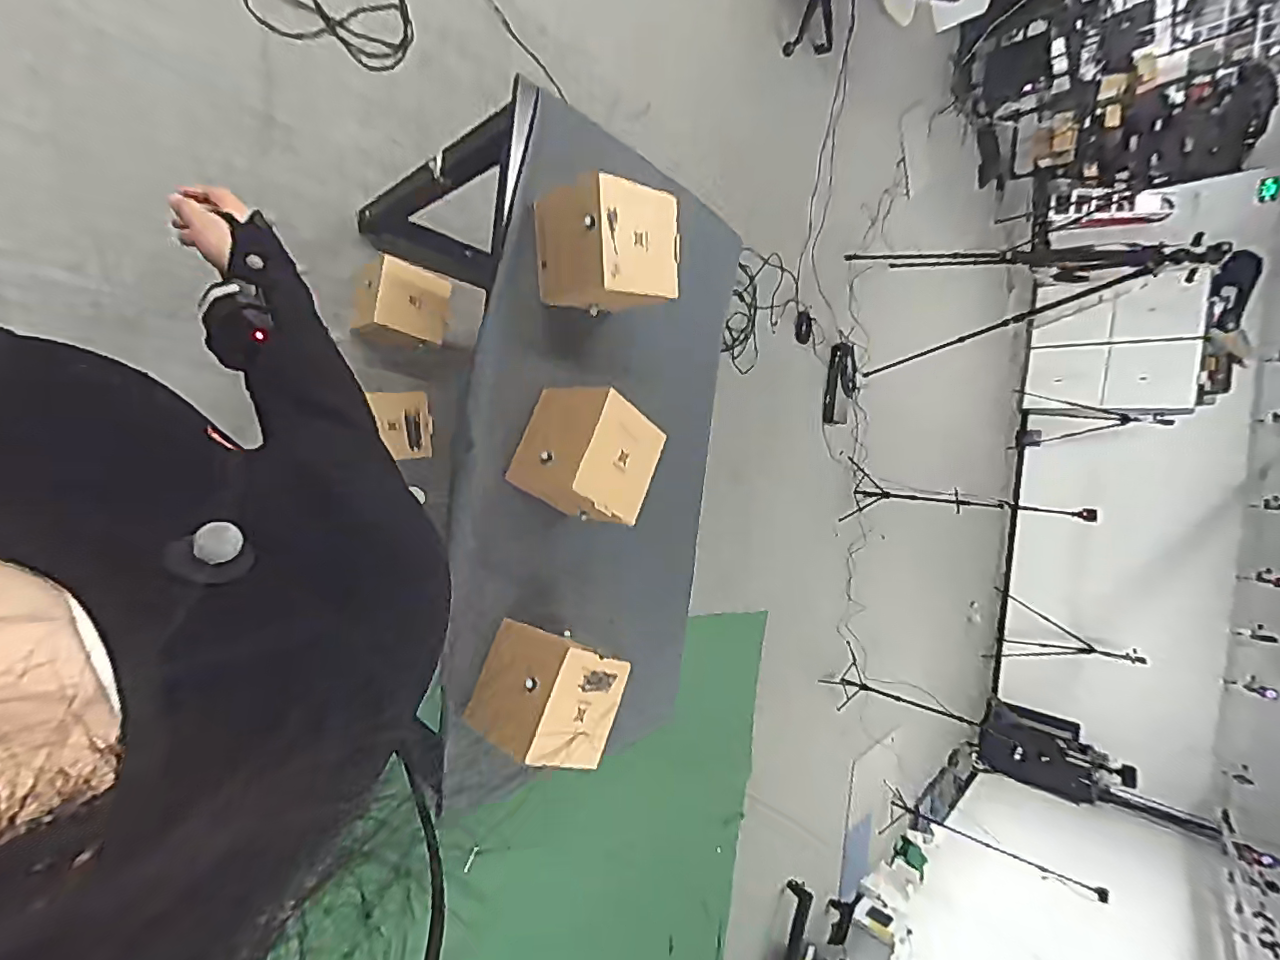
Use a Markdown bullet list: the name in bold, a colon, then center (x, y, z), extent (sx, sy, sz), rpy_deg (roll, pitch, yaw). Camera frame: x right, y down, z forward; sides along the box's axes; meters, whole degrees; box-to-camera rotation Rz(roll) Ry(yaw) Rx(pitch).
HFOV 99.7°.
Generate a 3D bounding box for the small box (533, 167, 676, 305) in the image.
- **small box**: center (-0.058, -0.396, 0.913), extent (0.179, 0.176, 0.168), rpy_deg (-12, 103, -45)

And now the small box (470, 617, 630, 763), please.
- **small box**: center (-0.149, 0.342, 0.896), extent (0.168, 0.176, 0.179), rpy_deg (36, 67, -45)

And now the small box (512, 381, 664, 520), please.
- **small box**: center (-0.091, -0.050, 0.920), extent (0.168, 0.176, 0.179), rpy_deg (35, 68, -46)

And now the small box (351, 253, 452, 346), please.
- **small box**: center (-0.615, -0.451, 1.386), extent (0.179, 0.176, 0.168), rpy_deg (12, 86, -47)
